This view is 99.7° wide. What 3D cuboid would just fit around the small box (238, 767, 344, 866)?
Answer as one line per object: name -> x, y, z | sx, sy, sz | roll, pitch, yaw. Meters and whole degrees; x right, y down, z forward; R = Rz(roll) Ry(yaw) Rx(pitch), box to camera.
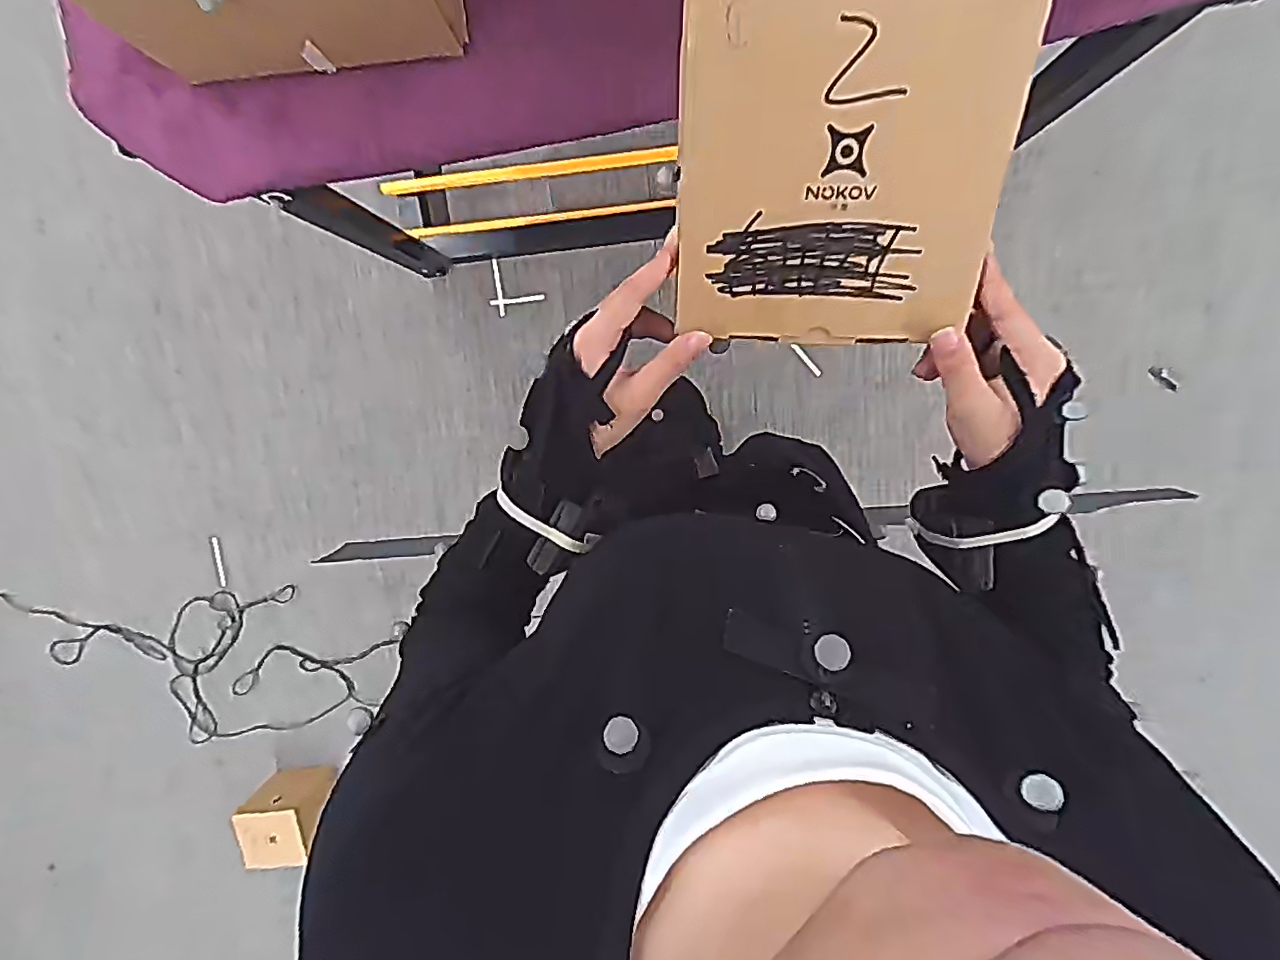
small box -> -0.952, 0.924, 1.497 | 0.179, 0.176, 0.168 | -6, 98, 5
